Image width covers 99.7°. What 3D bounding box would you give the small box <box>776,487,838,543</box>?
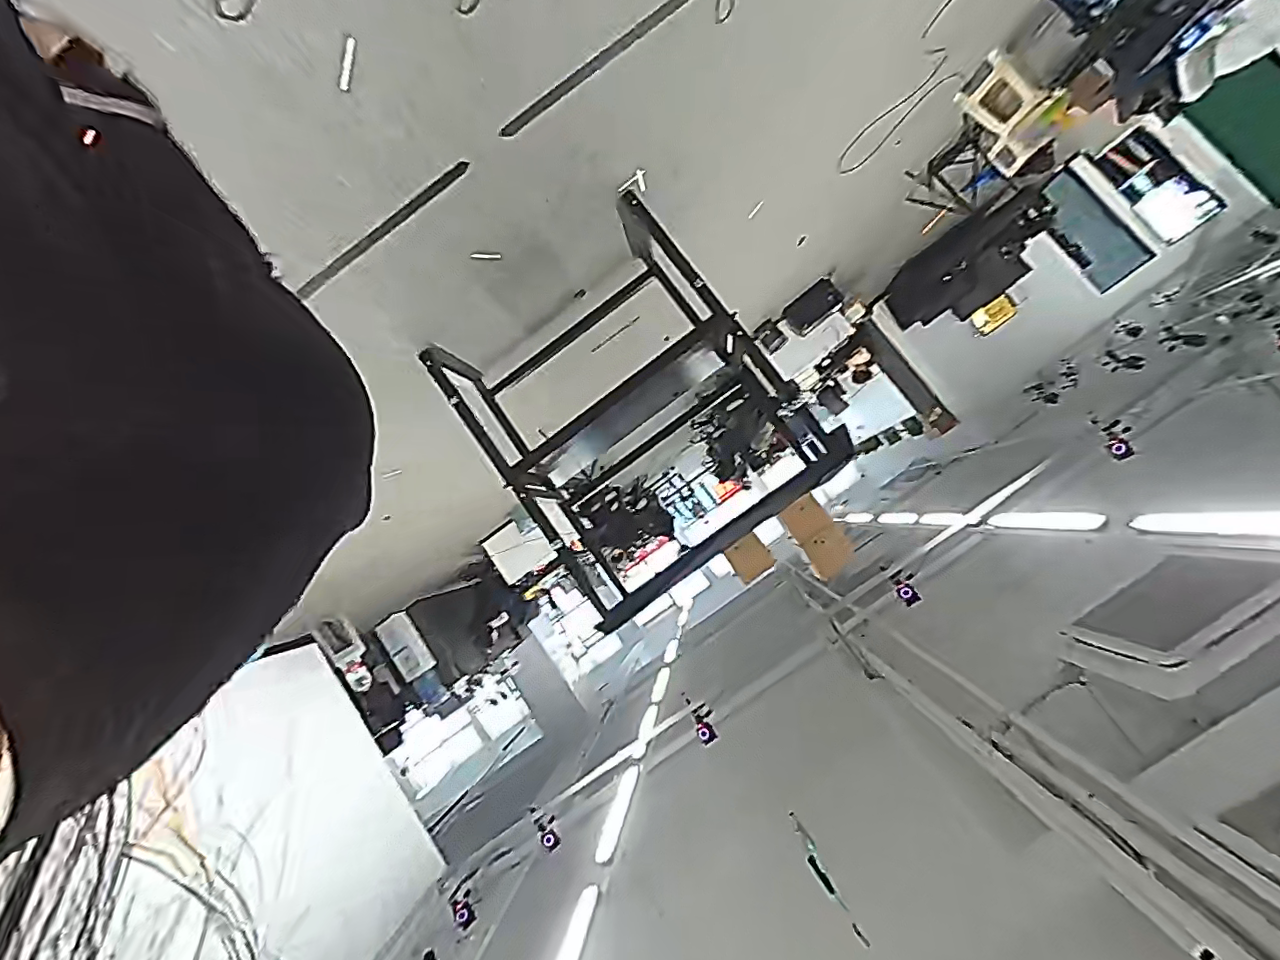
[{"bbox_3d":[0.681,0.141,2.227,0.168,0.176,0.179,-36,174,5],"label":"small box"}]

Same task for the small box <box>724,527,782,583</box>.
[{"bbox_3d":[0.463,0.305,2.246,0.168,0.176,0.179,-37,174,4],"label":"small box"}]
